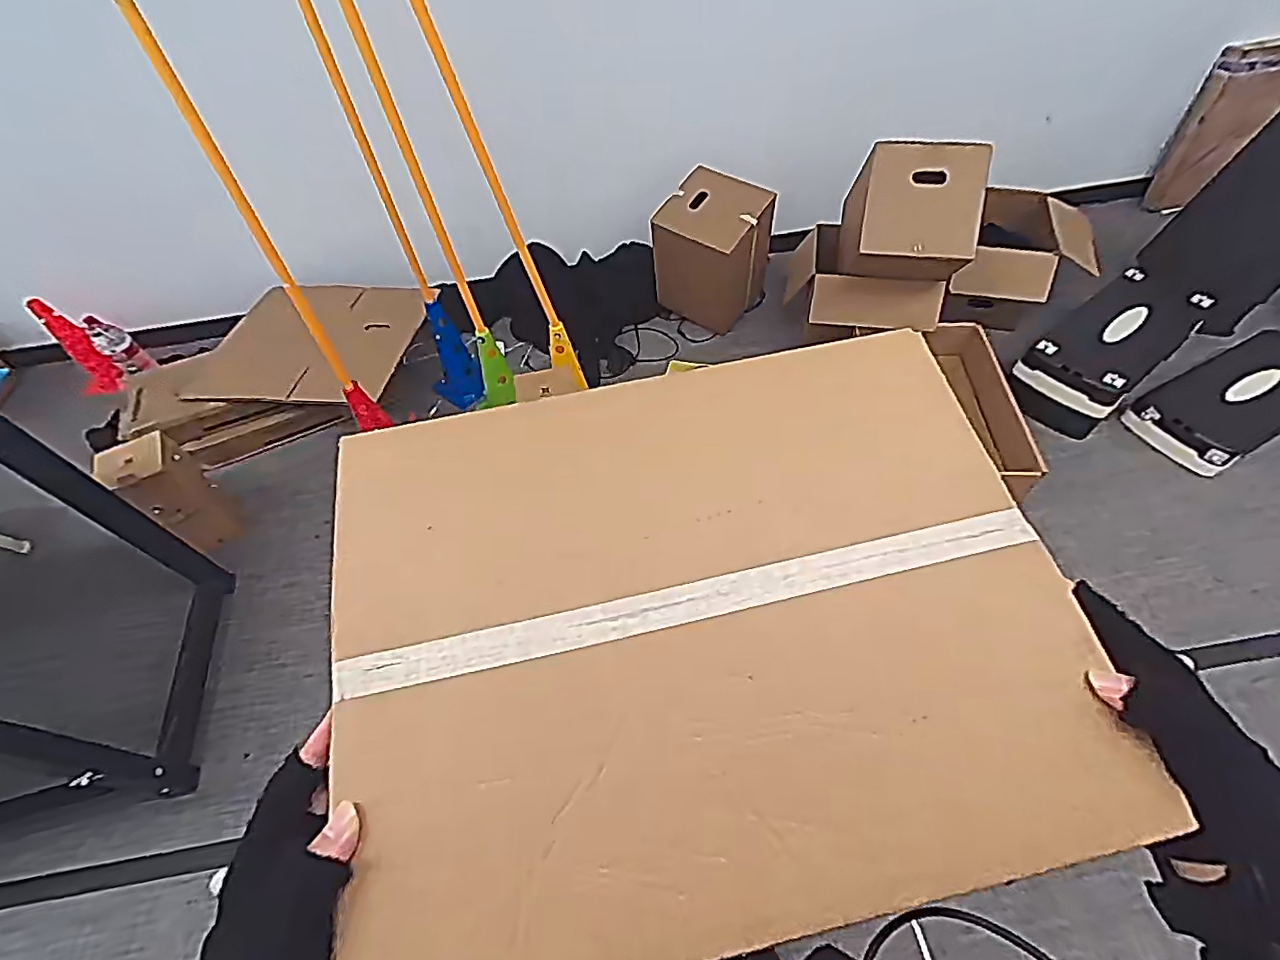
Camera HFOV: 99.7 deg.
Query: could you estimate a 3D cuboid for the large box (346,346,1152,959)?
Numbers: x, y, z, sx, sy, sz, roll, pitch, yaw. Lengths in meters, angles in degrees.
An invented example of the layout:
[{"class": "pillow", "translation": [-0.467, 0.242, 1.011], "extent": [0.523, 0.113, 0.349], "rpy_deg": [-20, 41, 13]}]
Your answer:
[{"class": "large box", "translation": [0.037, 0.141, 0.450], "extent": [0.408, 0.320, 0.320], "rpy_deg": [-12, 65, -3]}]
